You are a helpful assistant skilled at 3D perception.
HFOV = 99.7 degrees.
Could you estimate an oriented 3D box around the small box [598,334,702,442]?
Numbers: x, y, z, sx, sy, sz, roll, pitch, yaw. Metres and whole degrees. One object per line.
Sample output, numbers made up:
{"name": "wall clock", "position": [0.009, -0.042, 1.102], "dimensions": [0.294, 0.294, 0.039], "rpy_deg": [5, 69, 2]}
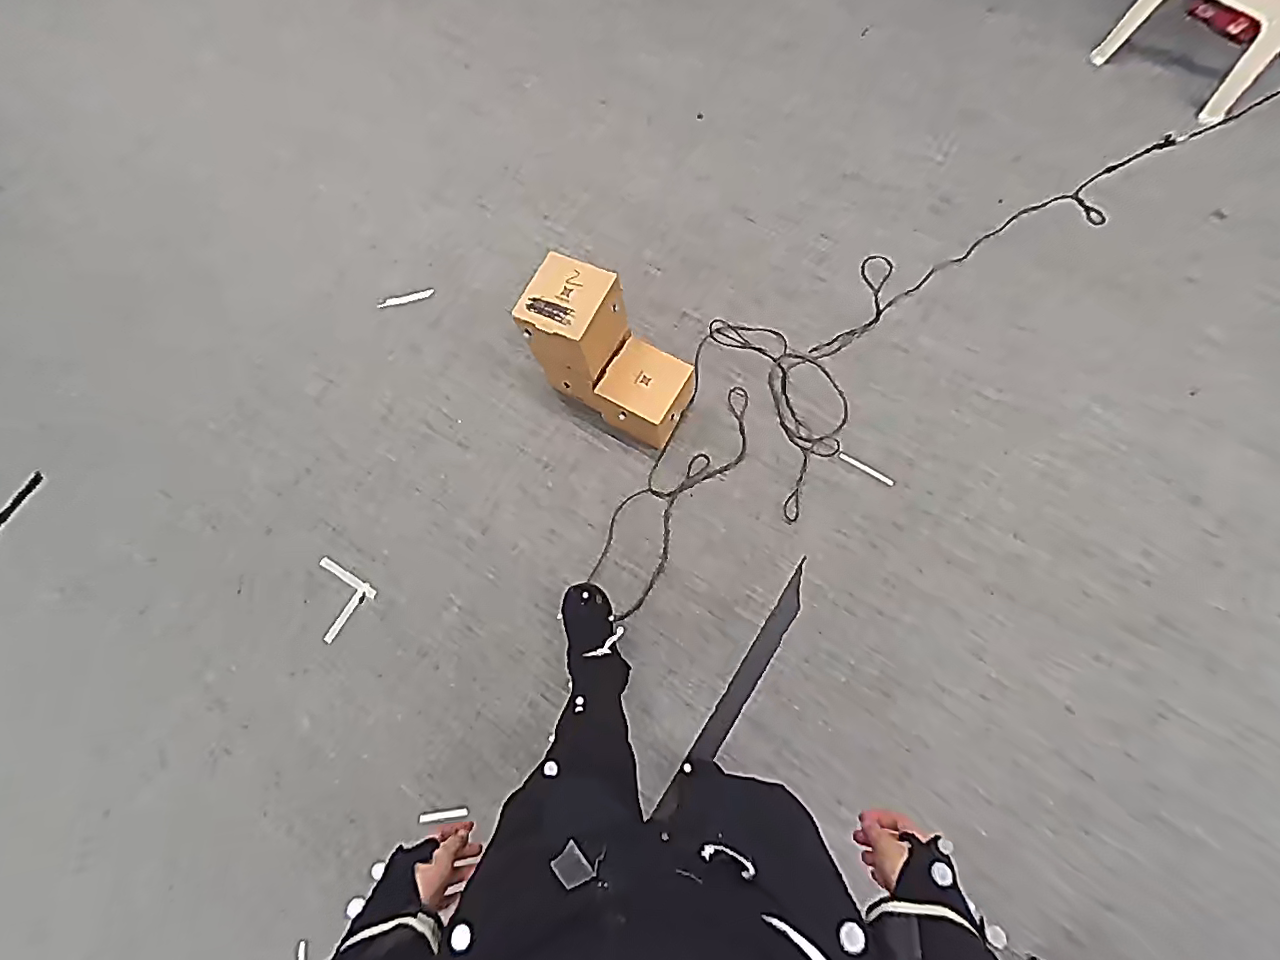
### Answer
{"name": "small box", "position": [0.025, -0.208, 1.230], "dimensions": [0.179, 0.176, 0.168], "rpy_deg": [-34, 87, 5]}
